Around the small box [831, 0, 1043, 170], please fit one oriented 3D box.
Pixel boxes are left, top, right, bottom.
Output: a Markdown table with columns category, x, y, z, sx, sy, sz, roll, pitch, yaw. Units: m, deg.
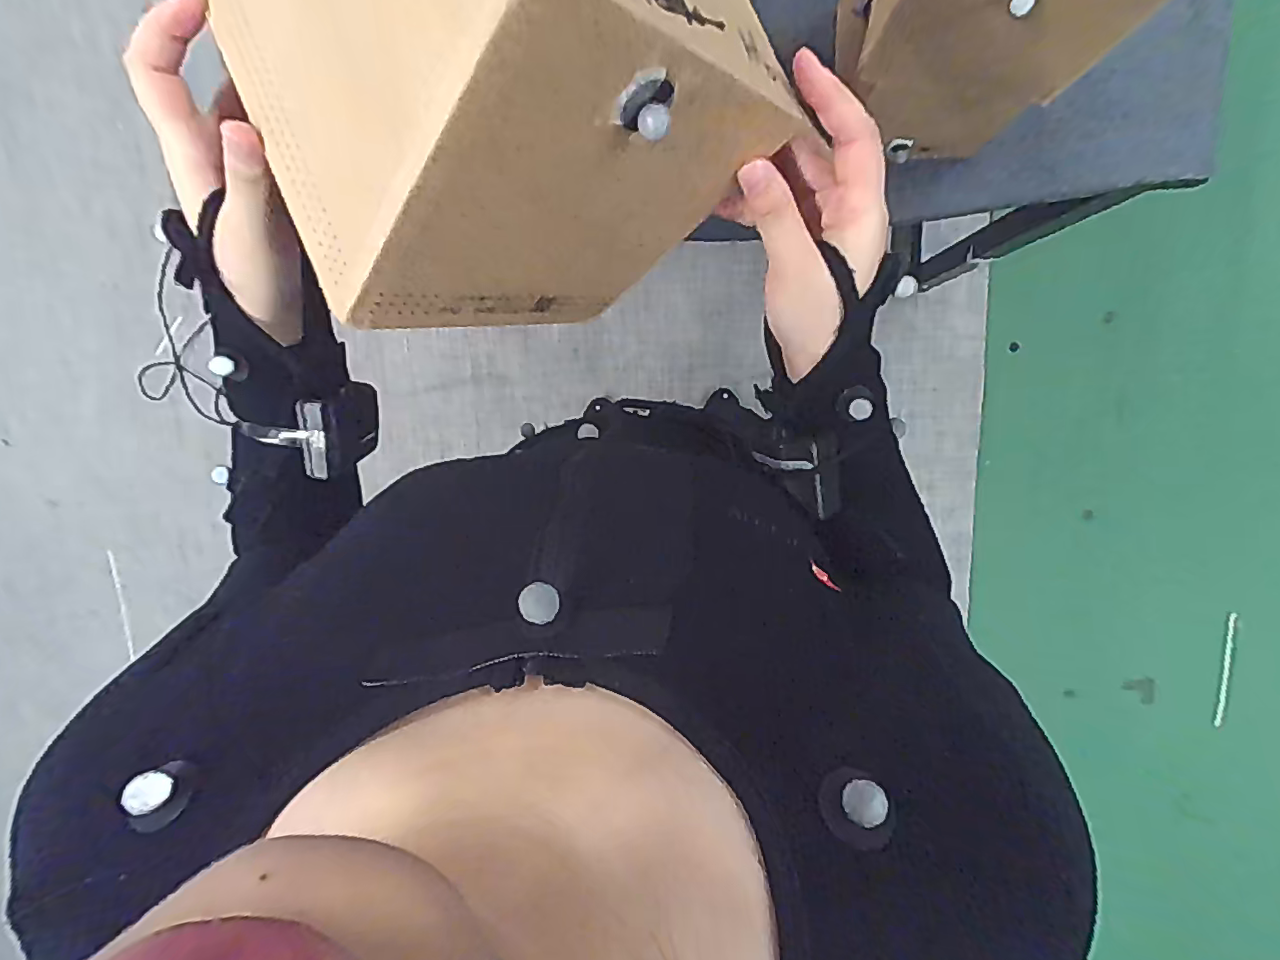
| category | x | y | z | sx | sy | sz | roll | pitch | yaw |
| --- | --- | --- | --- | --- | --- | --- | --- | --- | --- |
| small box | 0.307 | -0.457 | 0.570 | 0.168 | 0.176 | 0.179 | 0 | 98 | 5 |

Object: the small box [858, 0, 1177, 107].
| category | x | y | z | sx | sy | sz | roll | pitch | yaw |
| --- | --- | --- | --- | --- | --- | --- | --- | --- | --- |
| small box | 0.294 | -0.421 | 0.412 | 0.179 | 0.176 | 0.168 | 11 | 98 | 5 |

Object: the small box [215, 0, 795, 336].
| category | x | y | z | sx | sy | sz | roll | pitch | yaw |
| --- | --- | --- | --- | --- | --- | --- | --- | --- | --- |
| small box | -0.067 | -0.189 | 0.253 | 0.176 | 0.168 | 0.179 | -30 | 84 | 42 |
